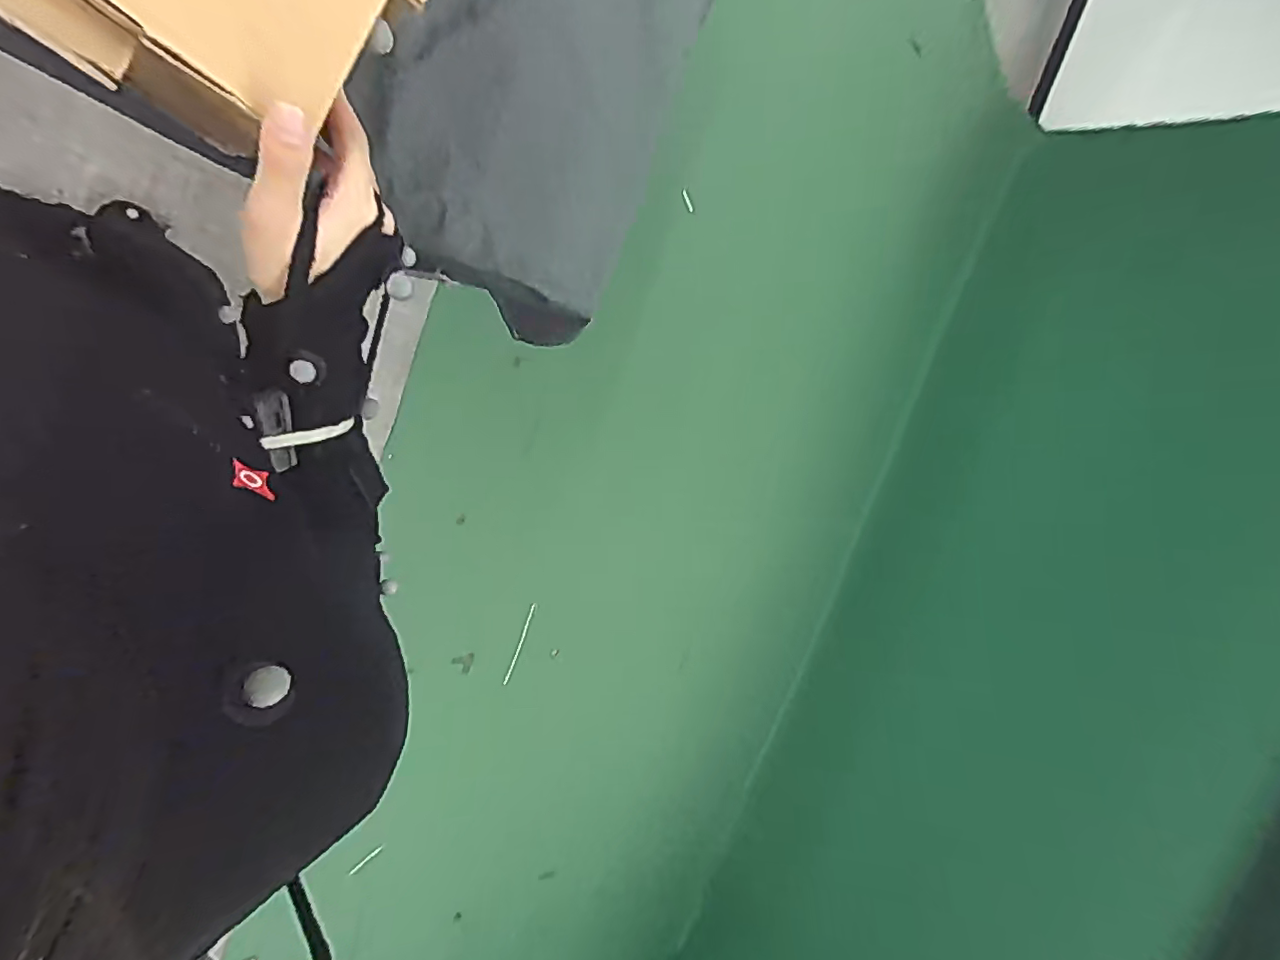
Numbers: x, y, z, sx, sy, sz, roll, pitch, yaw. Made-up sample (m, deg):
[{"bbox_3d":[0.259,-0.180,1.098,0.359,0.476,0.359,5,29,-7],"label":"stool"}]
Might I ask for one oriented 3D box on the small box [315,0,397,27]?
[{"bbox_3d":[-0.236,-0.486,0.393,0.168,0.176,0.179,15,99,-47],"label":"small box"}]
